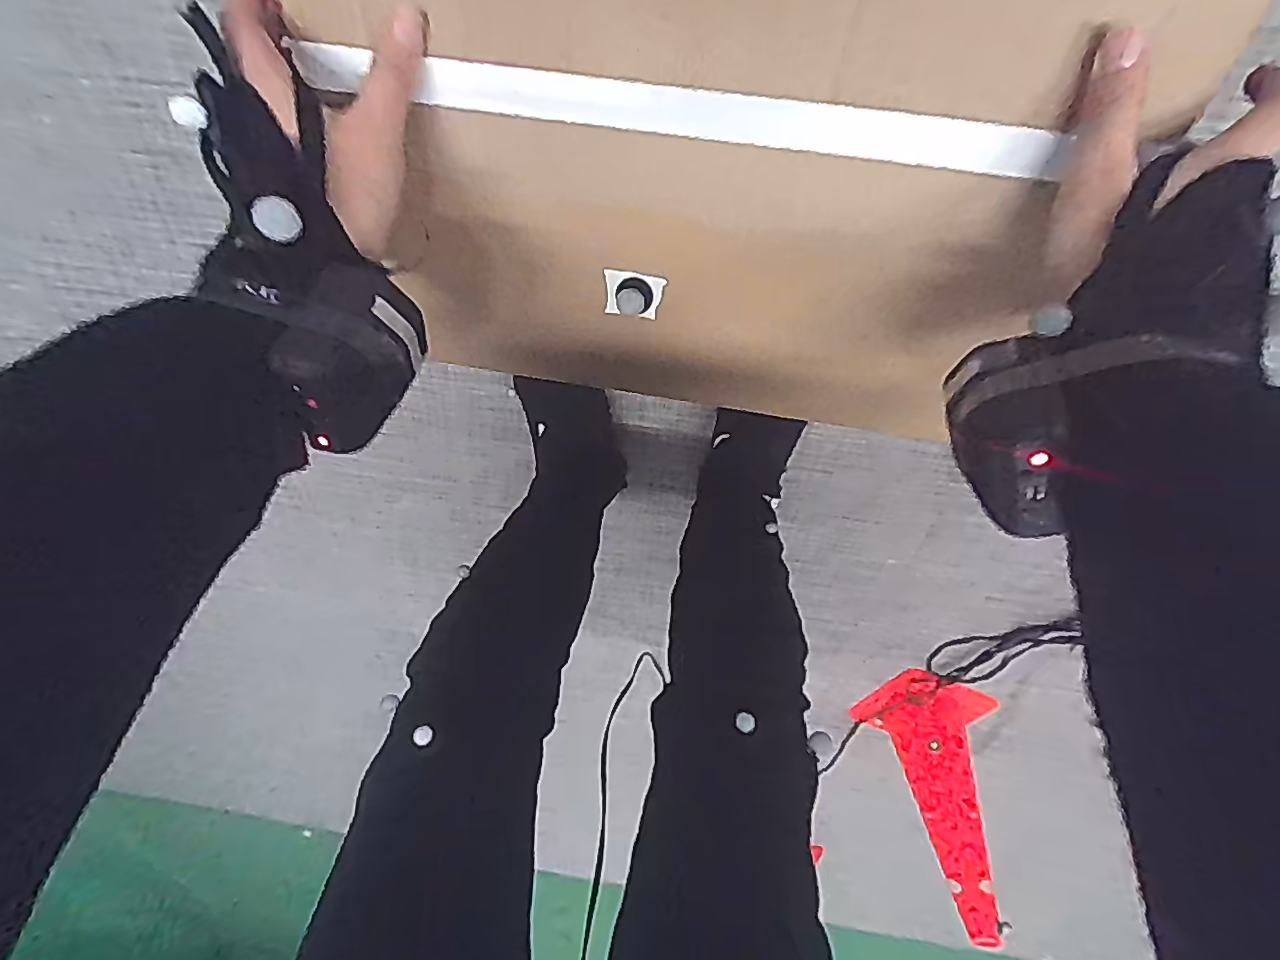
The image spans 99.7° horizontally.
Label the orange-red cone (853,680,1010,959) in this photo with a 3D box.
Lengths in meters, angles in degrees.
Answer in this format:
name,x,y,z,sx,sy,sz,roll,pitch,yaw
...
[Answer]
name,x,y,z,sx,sy,sz,roll,pitch,yaw
orange-red cone,0.506,0.545,0.869,0.199,0.360,0.198,23,128,-9
